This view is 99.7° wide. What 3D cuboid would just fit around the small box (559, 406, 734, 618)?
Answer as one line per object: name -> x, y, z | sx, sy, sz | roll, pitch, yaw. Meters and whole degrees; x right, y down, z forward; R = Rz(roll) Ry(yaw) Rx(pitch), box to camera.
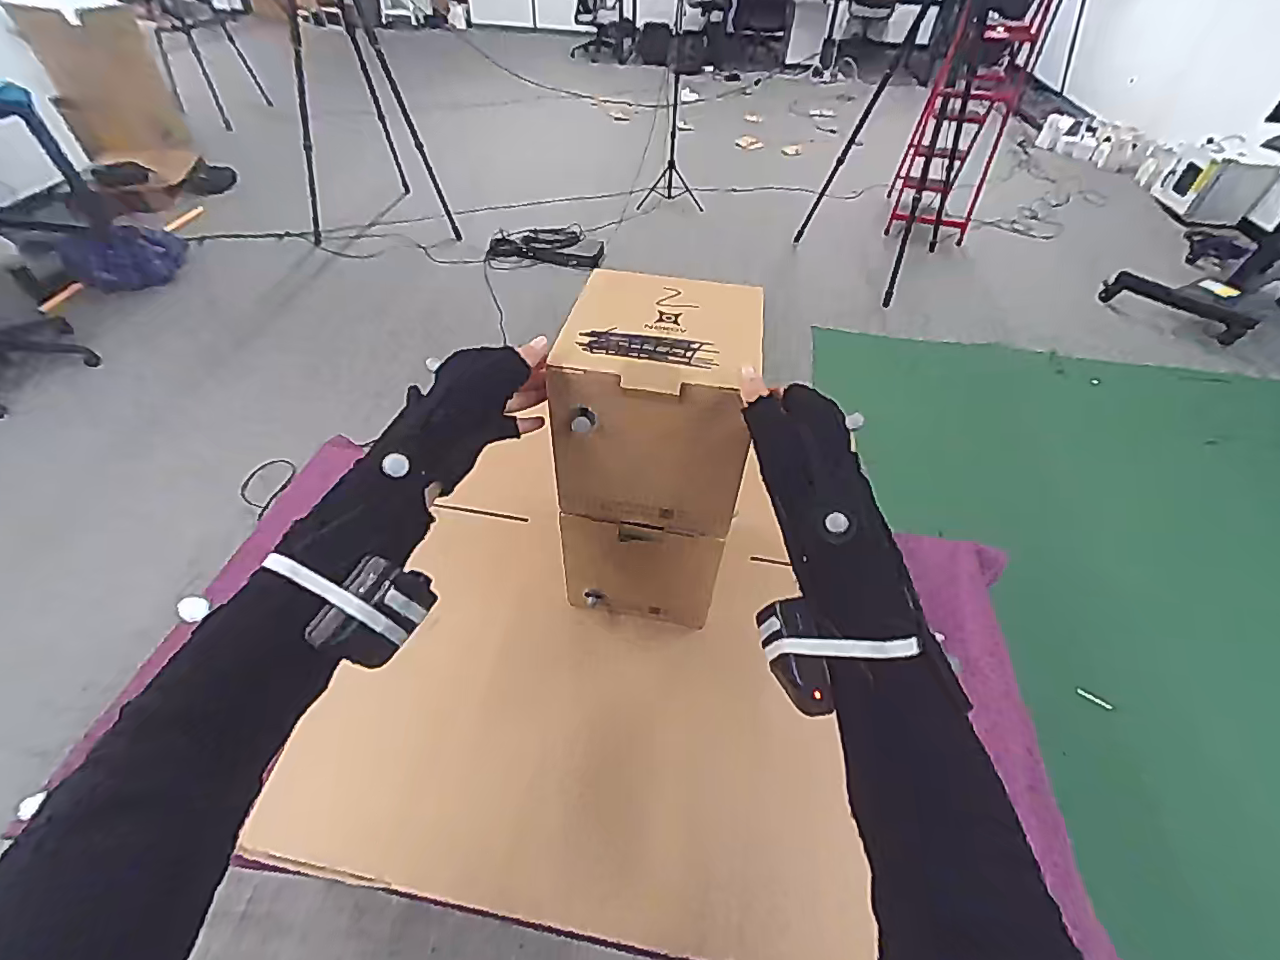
small box -> 0.012, 0.039, 0.640 | 0.168, 0.176, 0.179 | 9, 45, 5
